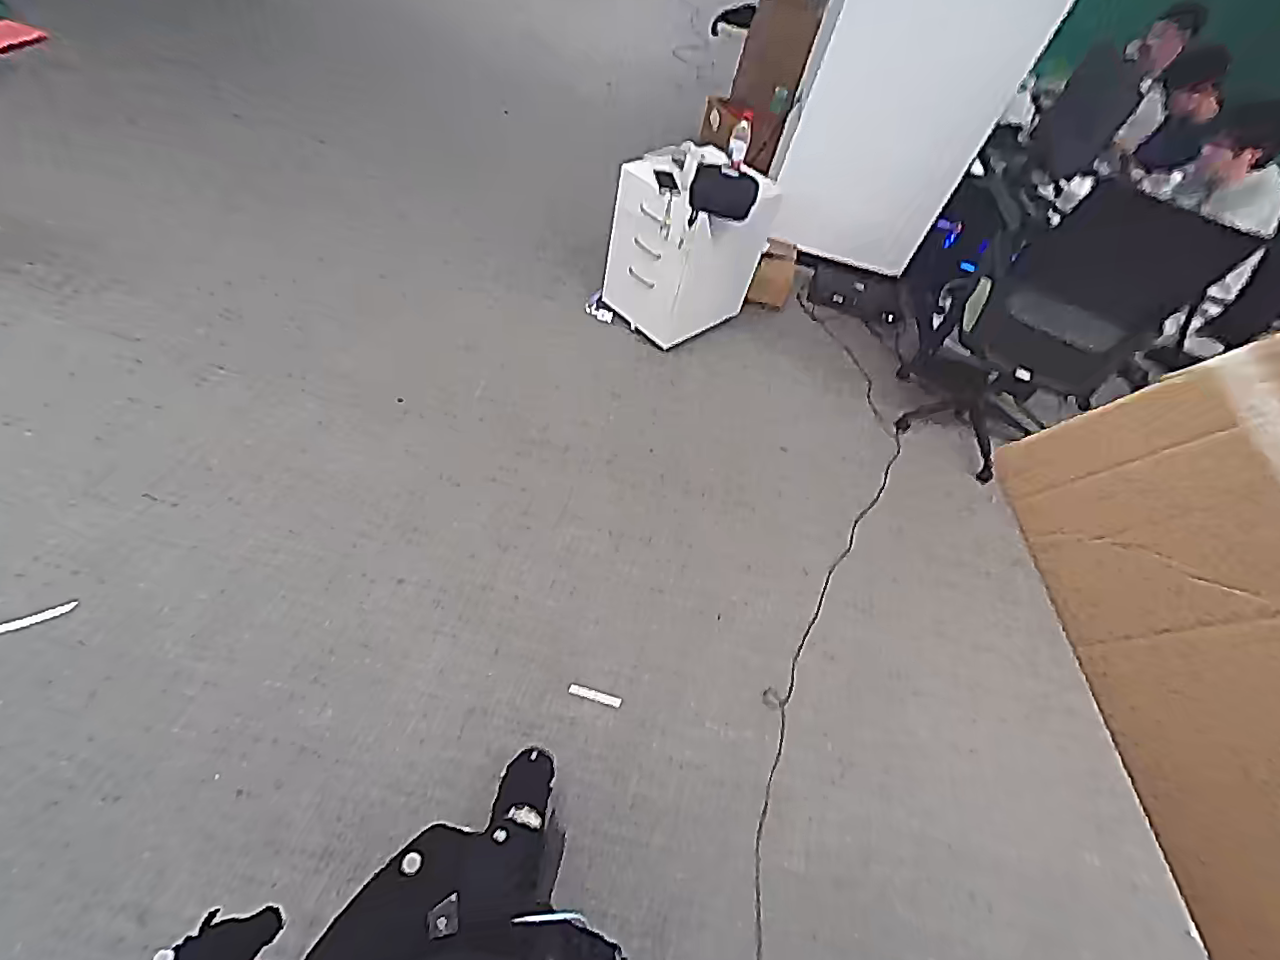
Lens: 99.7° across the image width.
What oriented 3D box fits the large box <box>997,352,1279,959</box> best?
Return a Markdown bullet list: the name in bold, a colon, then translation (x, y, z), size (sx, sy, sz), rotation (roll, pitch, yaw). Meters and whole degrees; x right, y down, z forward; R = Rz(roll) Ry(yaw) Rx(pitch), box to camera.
- **large box**: translation (0.538, 0.119, 0.371), size (0.320, 0.320, 0.408), rotation (6, 65, -37)
